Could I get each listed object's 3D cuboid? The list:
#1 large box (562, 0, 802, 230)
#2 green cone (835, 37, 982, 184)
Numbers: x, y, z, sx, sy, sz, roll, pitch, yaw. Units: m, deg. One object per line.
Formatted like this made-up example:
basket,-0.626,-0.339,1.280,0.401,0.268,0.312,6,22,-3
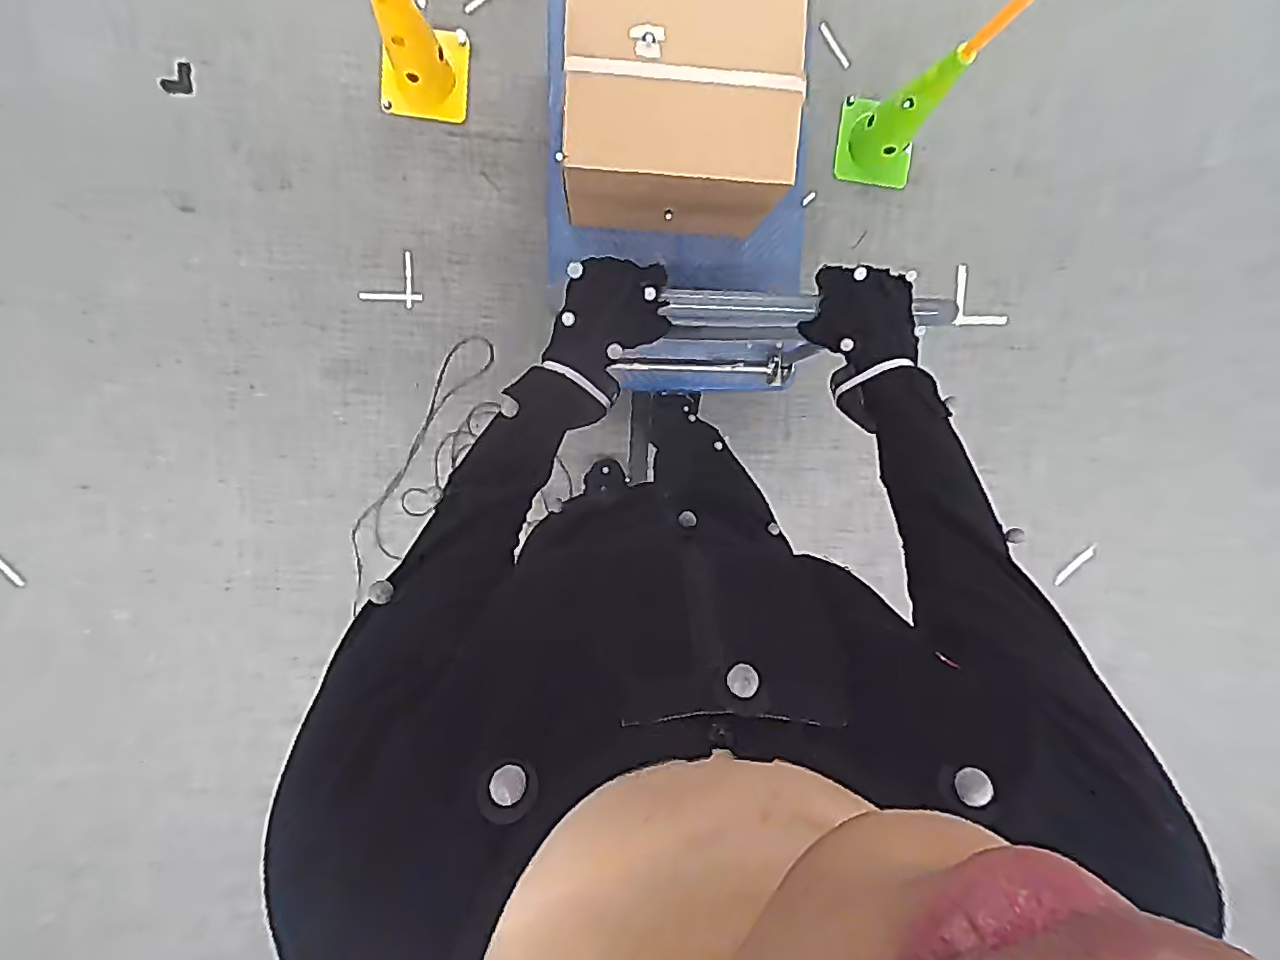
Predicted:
large box,0.063,-0.700,1.056,0.408,0.320,0.320,2,97,-4
green cone,0.625,-0.859,1.227,0.202,0.368,0.200,5,97,-7
